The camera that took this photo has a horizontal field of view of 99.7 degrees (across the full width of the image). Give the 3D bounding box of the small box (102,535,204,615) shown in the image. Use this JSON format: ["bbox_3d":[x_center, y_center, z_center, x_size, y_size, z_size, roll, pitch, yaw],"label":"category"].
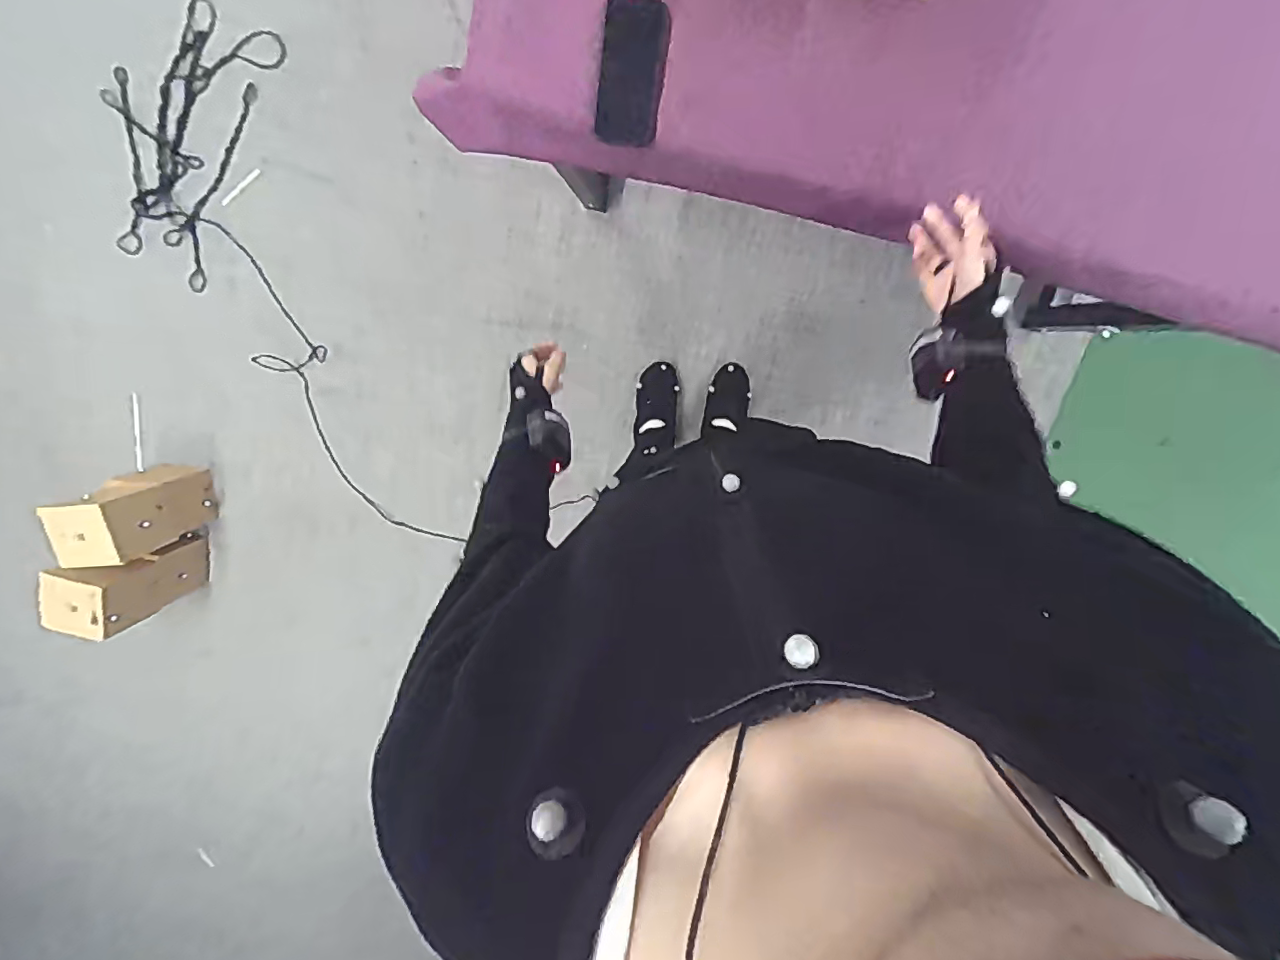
[{"bbox_3d":[-1.462,0.276,1.633,0.168,0.176,0.179,14,106,2],"label":"small box"}]

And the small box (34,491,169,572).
[{"bbox_3d":[-1.396,0.131,1.420,0.179,0.176,0.168,-3,105,6],"label":"small box"}]
